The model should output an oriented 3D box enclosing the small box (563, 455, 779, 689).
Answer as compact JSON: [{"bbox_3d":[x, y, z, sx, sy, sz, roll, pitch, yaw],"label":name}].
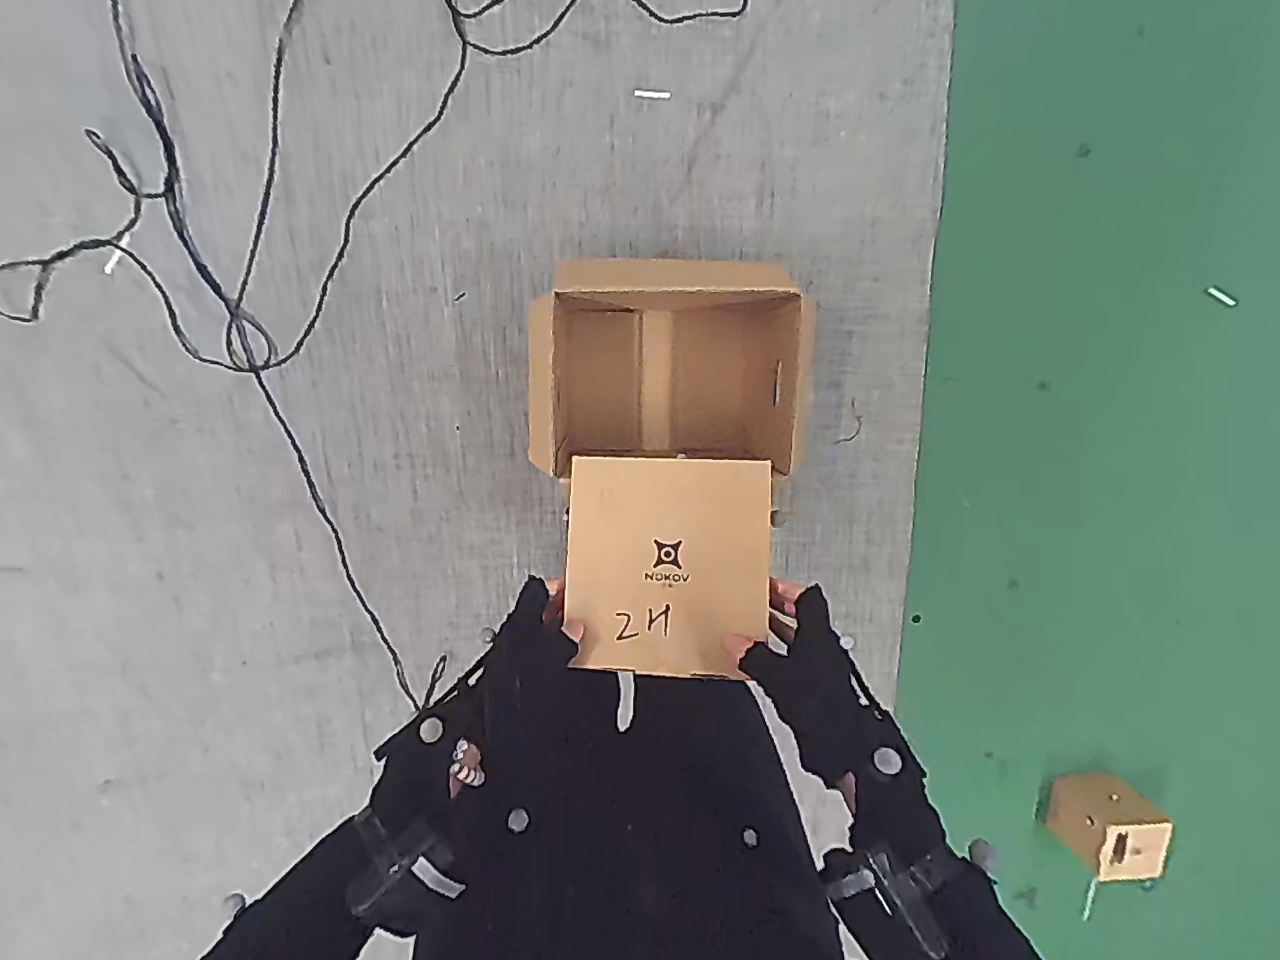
[{"bbox_3d":[0.033,0.078,0.506,0.168,0.176,0.179,2,85,7],"label":"small box"}]
